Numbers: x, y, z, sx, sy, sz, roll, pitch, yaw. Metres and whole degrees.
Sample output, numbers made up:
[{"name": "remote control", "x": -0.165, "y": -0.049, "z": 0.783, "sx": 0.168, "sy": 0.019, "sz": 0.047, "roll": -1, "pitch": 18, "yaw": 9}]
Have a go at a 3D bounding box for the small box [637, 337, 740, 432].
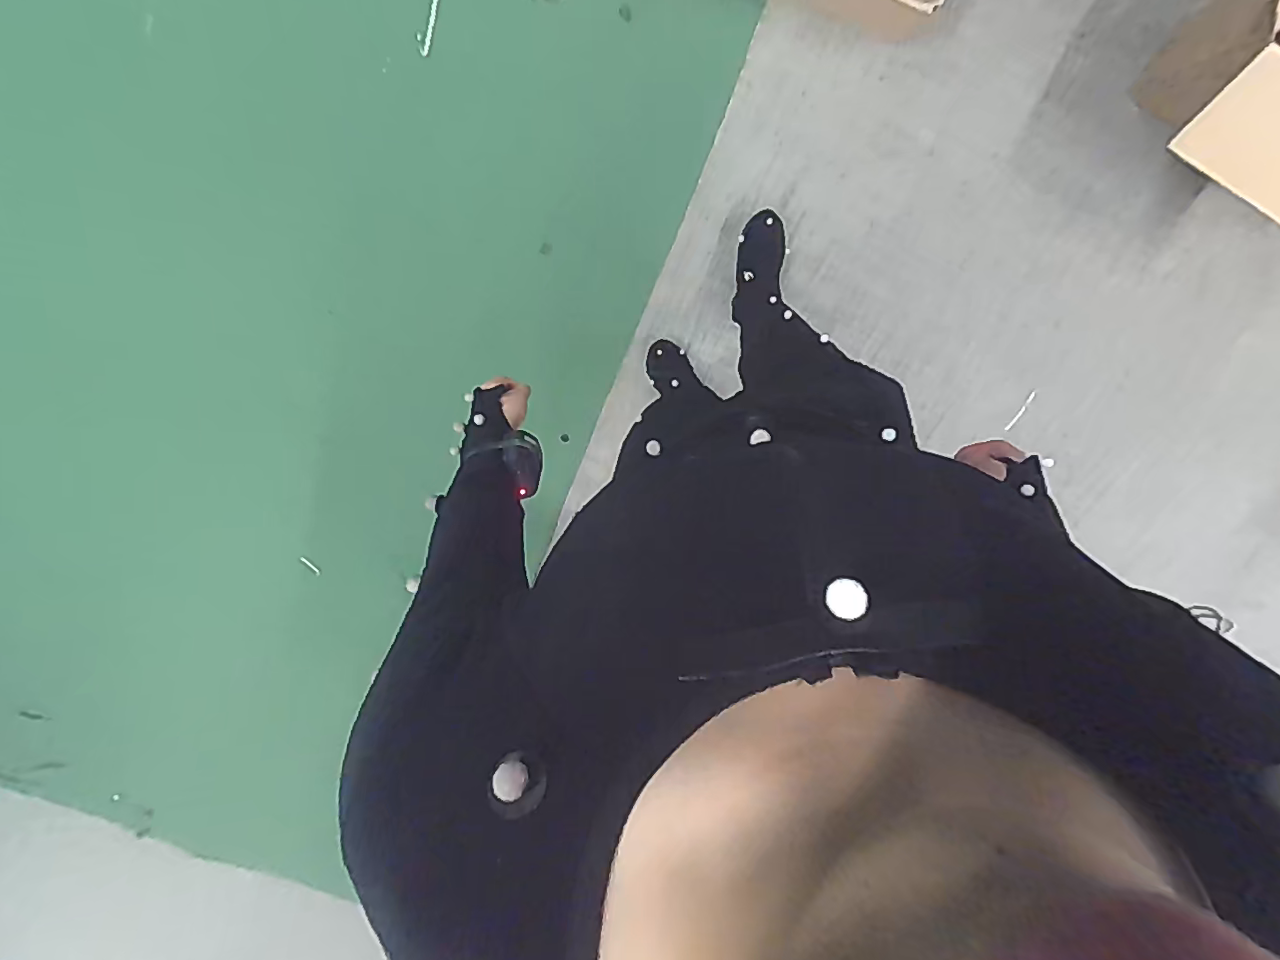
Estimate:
[{"name": "small box", "x": 0.121, "y": -0.229, "z": 1.324, "sx": 0.176, "sy": 0.168, "sz": 0.179, "roll": 16, "pitch": 89, "yaw": -28}]
